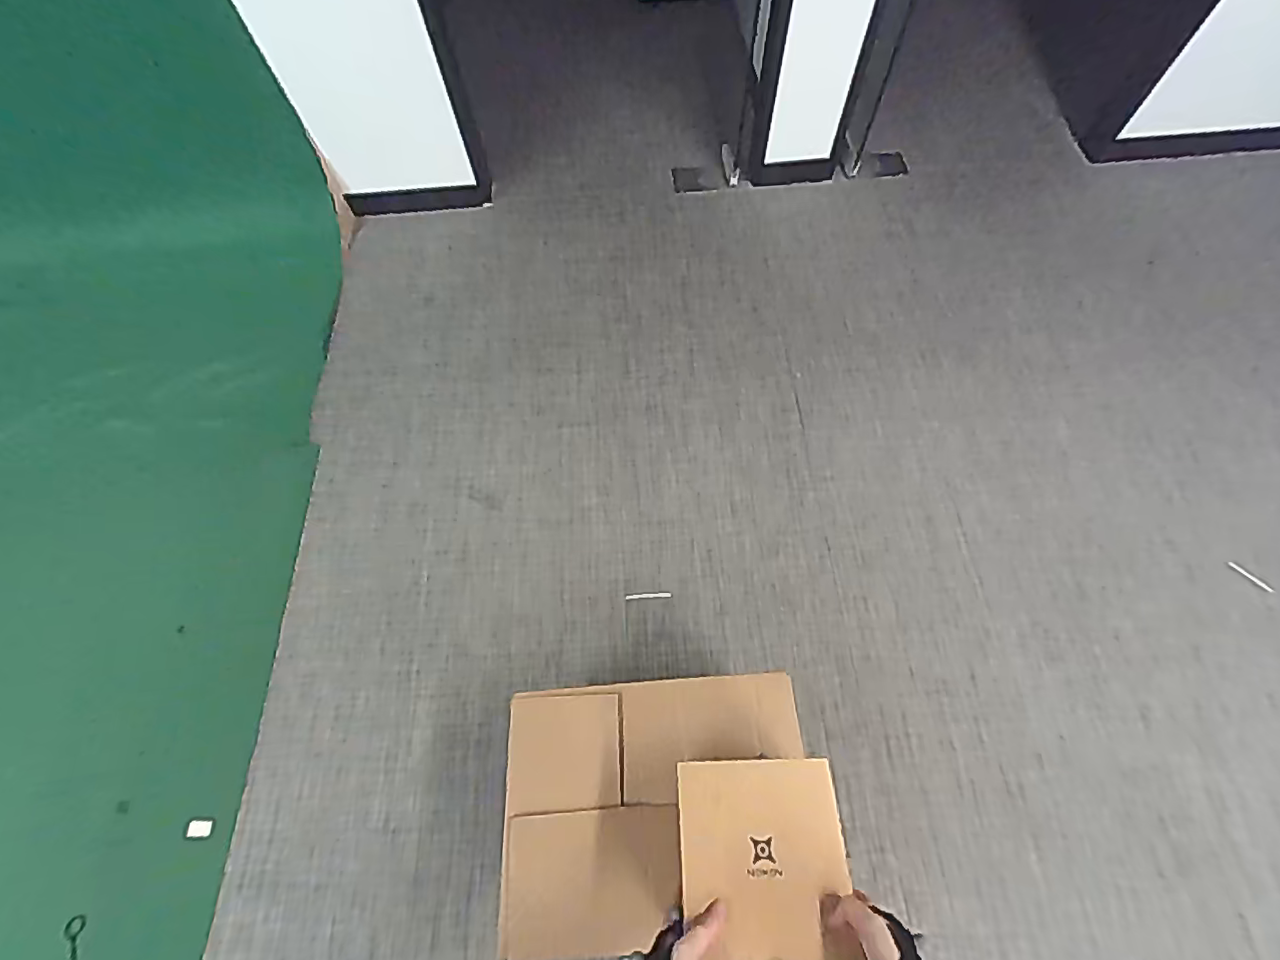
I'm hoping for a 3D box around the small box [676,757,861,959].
[{"bbox_3d":[0.126,0.420,0.608,0.168,0.176,0.179,-2,57,3],"label":"small box"}]
